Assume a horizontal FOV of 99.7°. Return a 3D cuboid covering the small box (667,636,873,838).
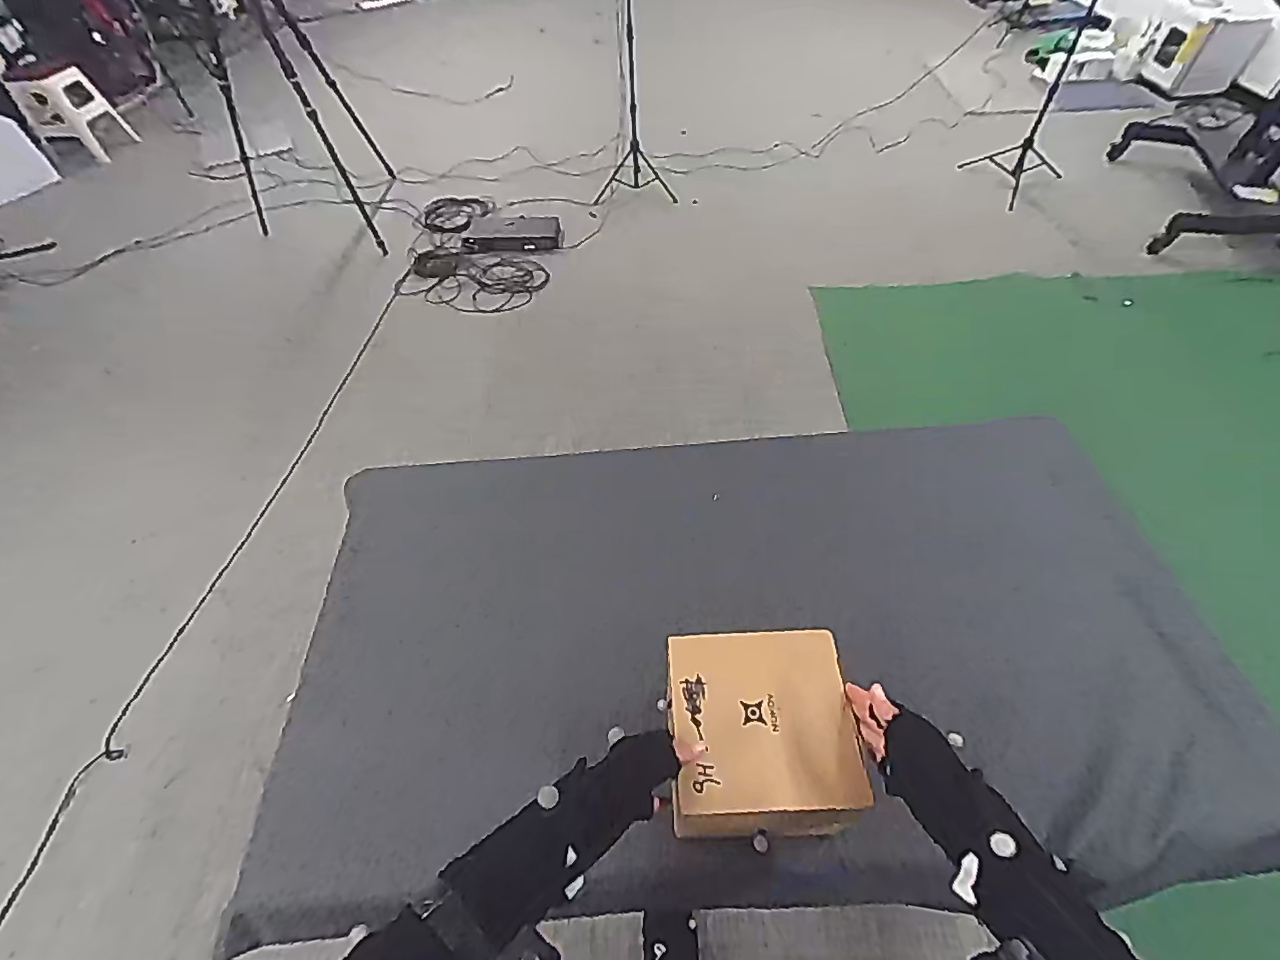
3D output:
[{"bbox_3d":[0.121,0.281,0.588,0.179,0.176,0.168,-2,50,1],"label":"small box"}]
